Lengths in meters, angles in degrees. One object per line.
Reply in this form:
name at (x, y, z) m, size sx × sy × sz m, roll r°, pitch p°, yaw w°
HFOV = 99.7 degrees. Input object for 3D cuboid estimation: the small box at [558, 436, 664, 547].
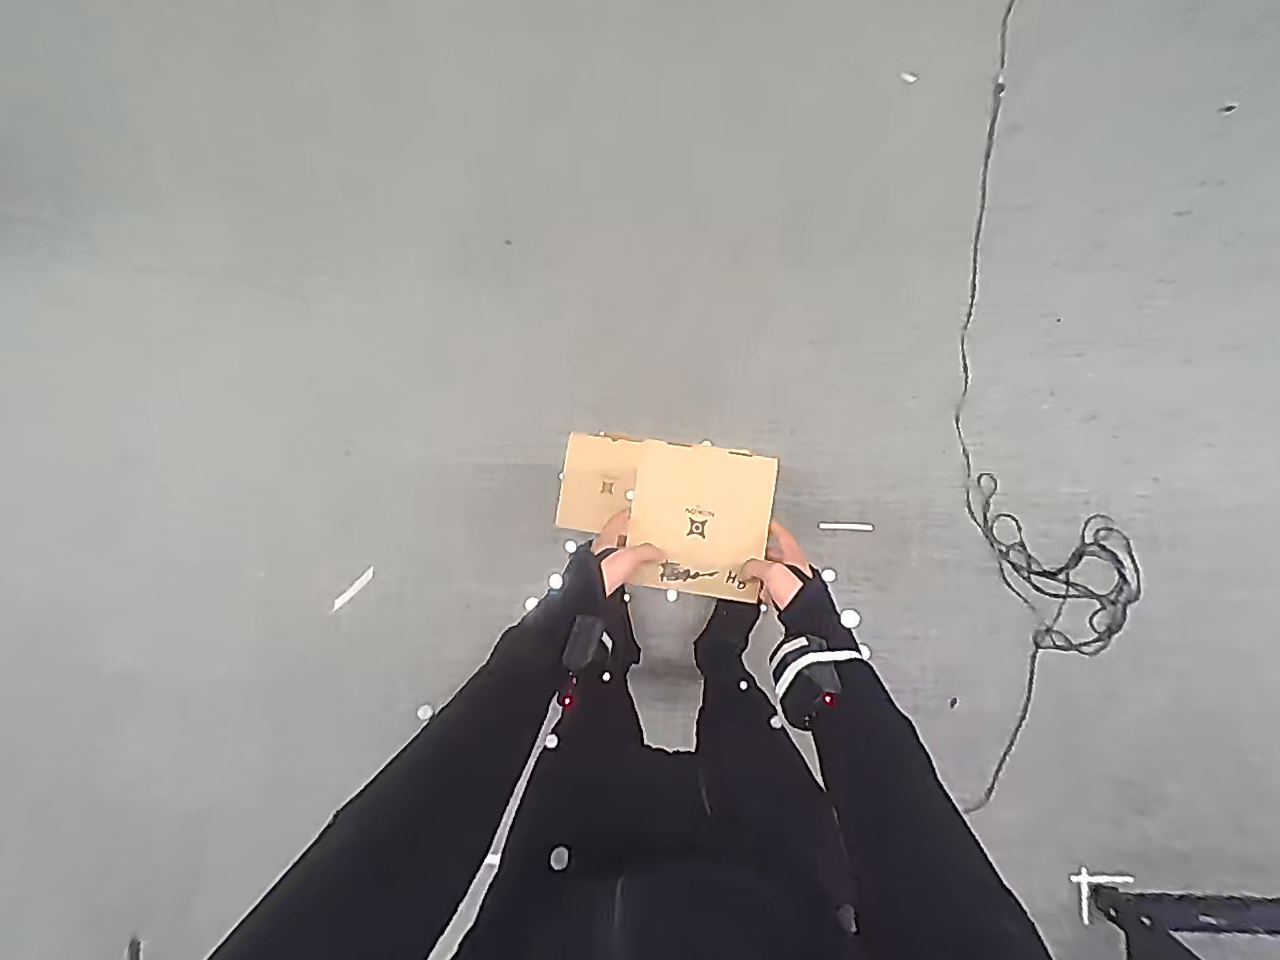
small box at (-0.048, 0.025, 1.033) m, size 0.168 × 0.176 × 0.179 m, roll 9°, pitch 87°, yaw 4°
